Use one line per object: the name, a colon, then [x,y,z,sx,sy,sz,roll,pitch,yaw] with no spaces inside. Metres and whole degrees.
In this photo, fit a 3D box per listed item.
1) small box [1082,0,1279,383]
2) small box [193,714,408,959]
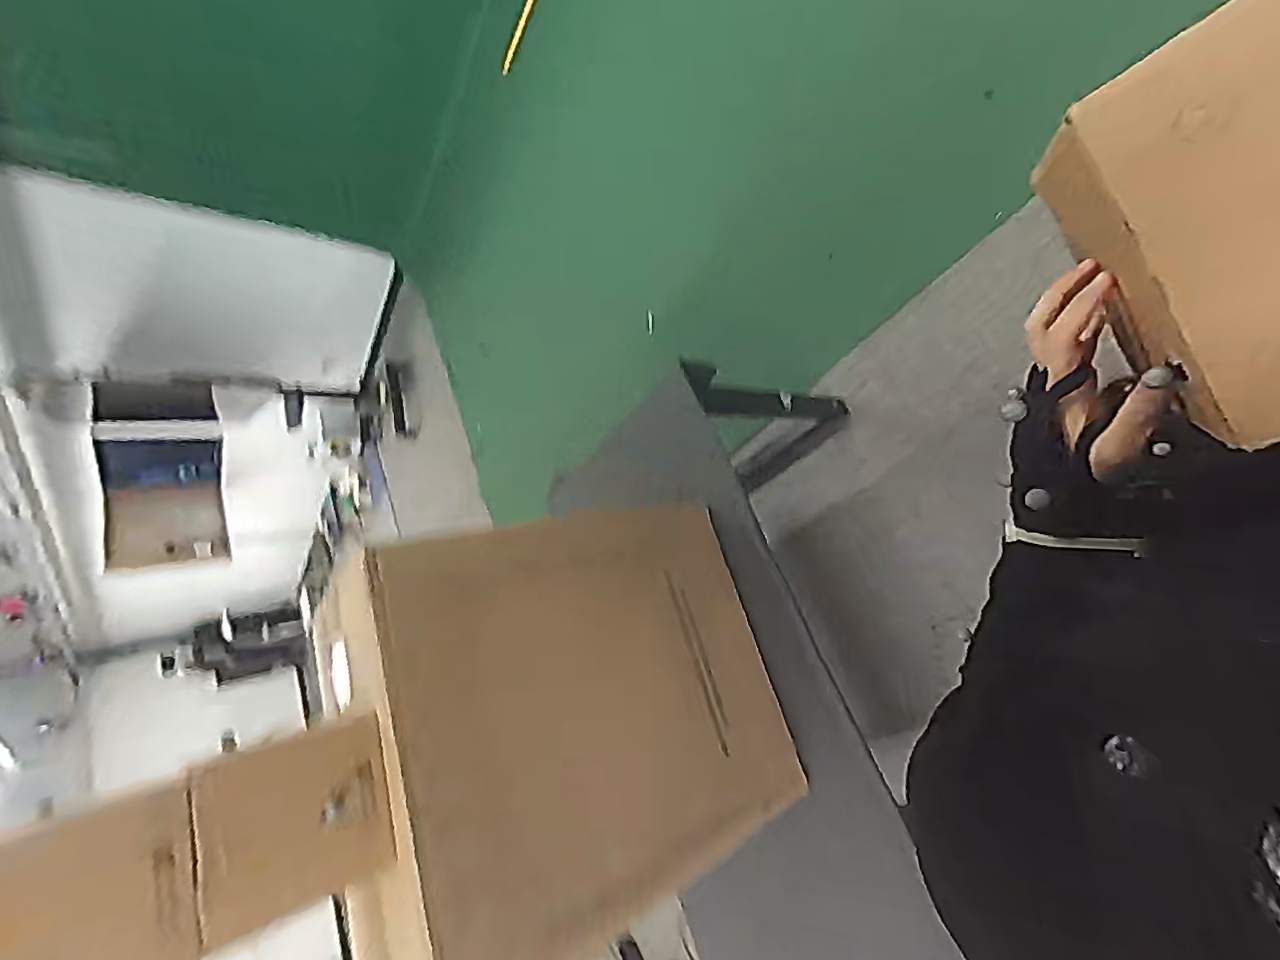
small box: [0.348,-0.163,0.253,0.168,0.176,0.179,-27,94,36]
small box: [-0.374,0.370,0.595,0.179,0.176,0.168,-29,72,43]
